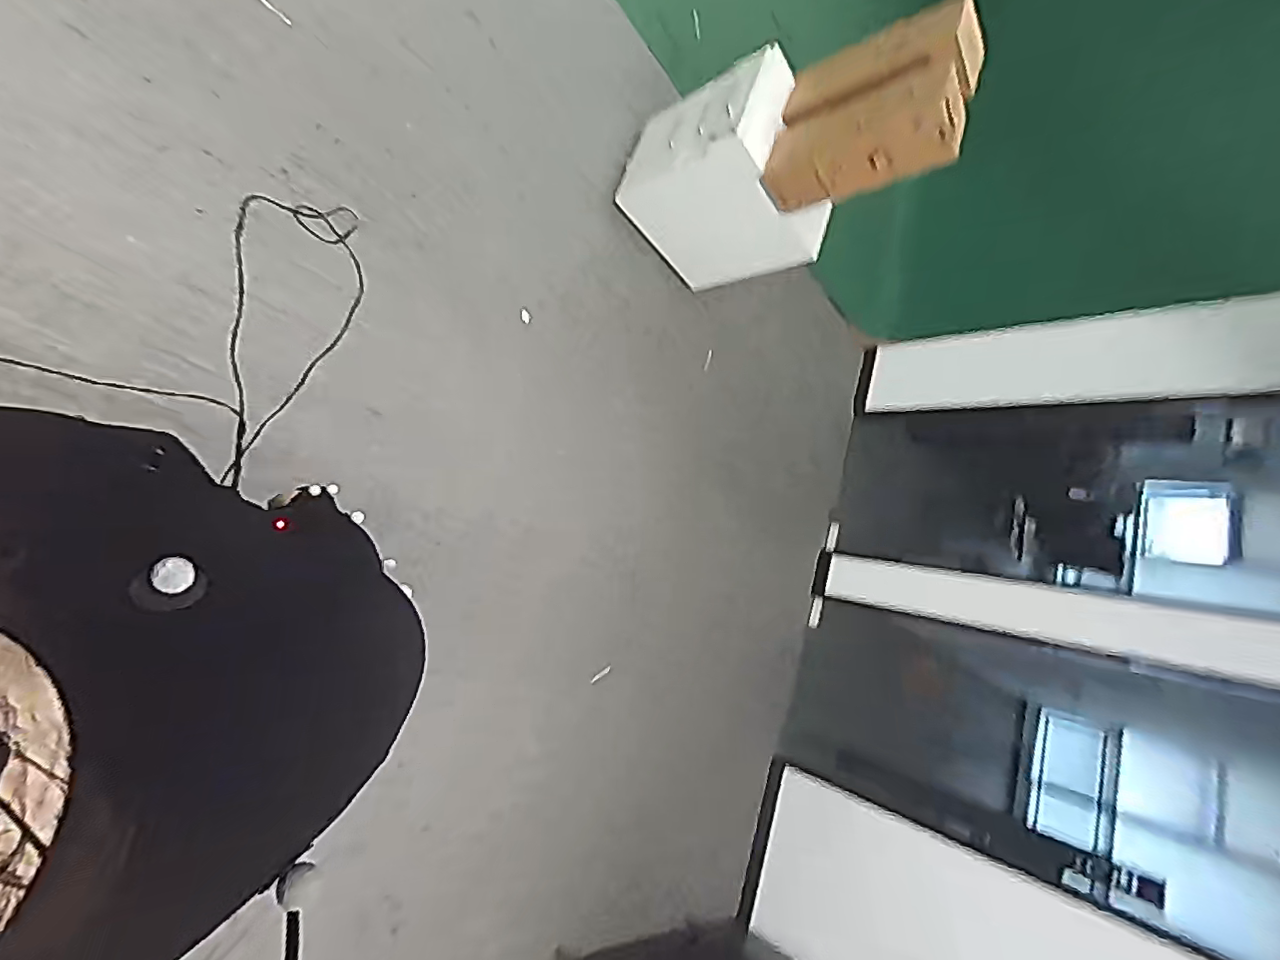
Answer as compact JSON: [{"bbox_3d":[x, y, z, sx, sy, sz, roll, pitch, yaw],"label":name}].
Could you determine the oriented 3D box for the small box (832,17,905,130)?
[{"bbox_3d":[0.687,-1.185,1.589,0.168,0.176,0.179,33,72,-42],"label":"small box"}]

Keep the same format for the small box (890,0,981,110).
[{"bbox_3d":[0.804,-1.165,1.475,0.179,0.176,0.168,33,72,-42],"label":"small box"}]

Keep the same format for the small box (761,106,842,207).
[{"bbox_3d":[0.487,-0.972,1.644,0.168,0.176,0.179,33,68,-43],"label":"small box"}]

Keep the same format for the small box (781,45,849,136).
[{"bbox_3d":[0.567,-1.198,1.702,0.168,0.176,0.179,34,71,-41],"label":"small box"}]
